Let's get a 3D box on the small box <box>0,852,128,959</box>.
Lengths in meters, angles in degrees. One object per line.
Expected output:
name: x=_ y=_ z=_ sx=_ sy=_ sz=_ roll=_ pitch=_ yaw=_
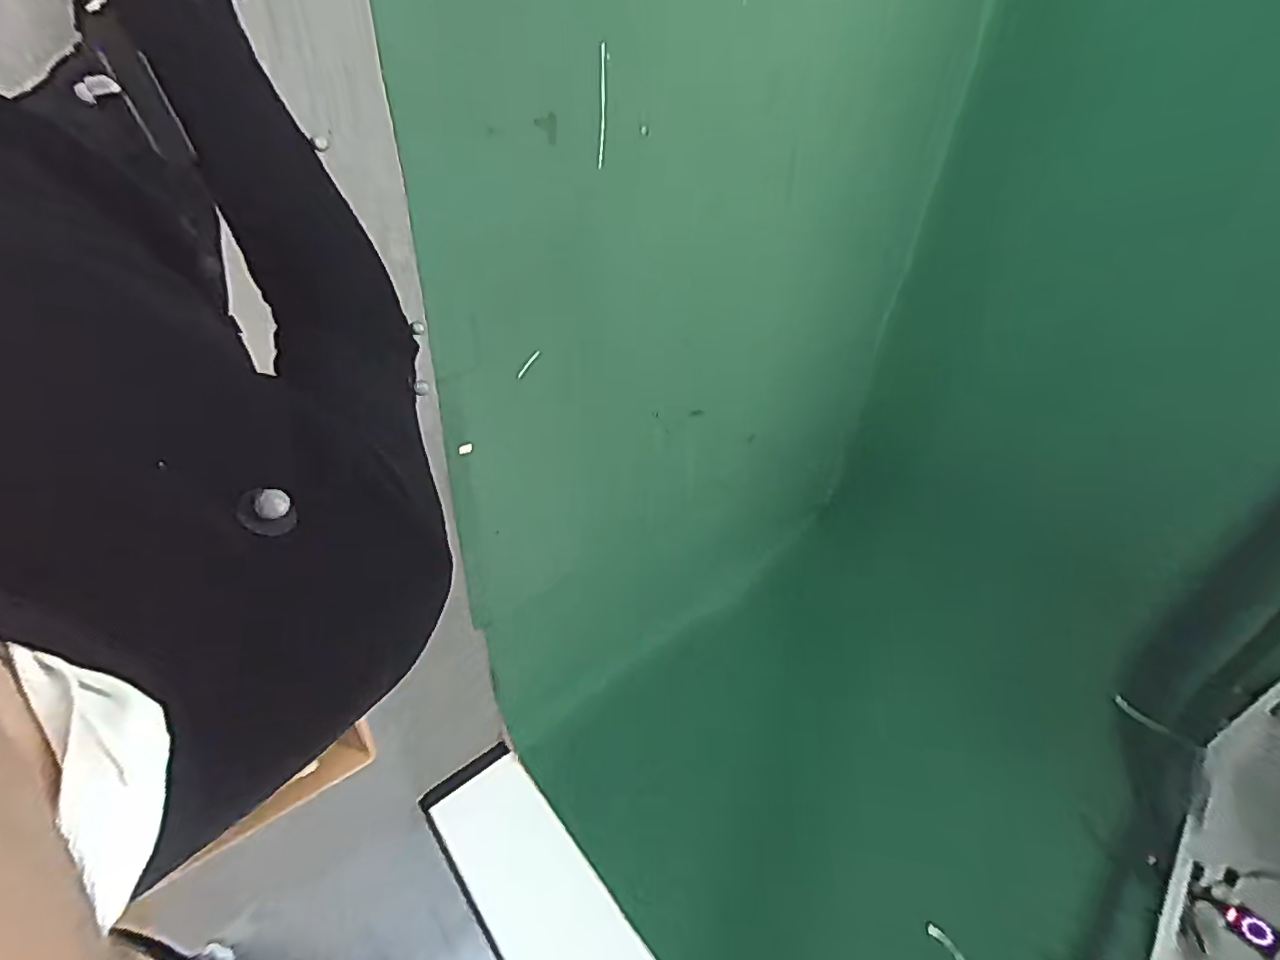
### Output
small box: x=-0.844 y=0.668 z=0.746 sx=0.168 sy=0.176 sz=0.179 roll=-22 pitch=133 yaw=-36
